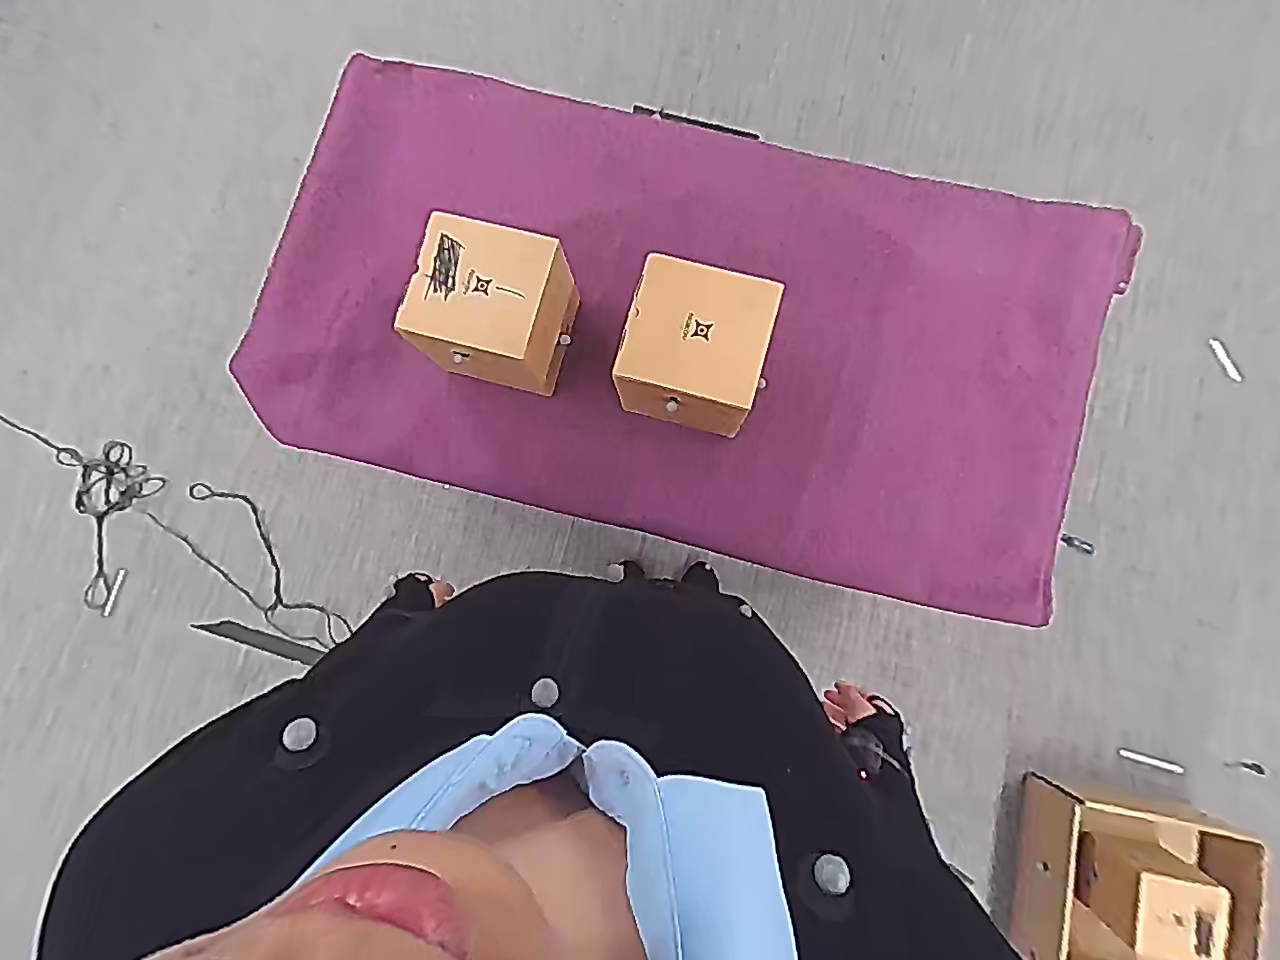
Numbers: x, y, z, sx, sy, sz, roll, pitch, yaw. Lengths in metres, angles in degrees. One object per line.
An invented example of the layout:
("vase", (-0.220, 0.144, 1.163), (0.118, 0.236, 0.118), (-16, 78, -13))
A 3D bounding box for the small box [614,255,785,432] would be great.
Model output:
("small box", (0.078, -0.173, 0.740), (0.179, 0.176, 0.168), (16, 84, 6))

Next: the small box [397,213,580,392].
("small box", (-0.199, -0.238, 0.763), (0.179, 0.176, 0.168), (15, 84, 5))

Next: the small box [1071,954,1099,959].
("small box", (1.068, 1.202, 1.187), (0.179, 0.176, 0.168), (12, 84, 4))
